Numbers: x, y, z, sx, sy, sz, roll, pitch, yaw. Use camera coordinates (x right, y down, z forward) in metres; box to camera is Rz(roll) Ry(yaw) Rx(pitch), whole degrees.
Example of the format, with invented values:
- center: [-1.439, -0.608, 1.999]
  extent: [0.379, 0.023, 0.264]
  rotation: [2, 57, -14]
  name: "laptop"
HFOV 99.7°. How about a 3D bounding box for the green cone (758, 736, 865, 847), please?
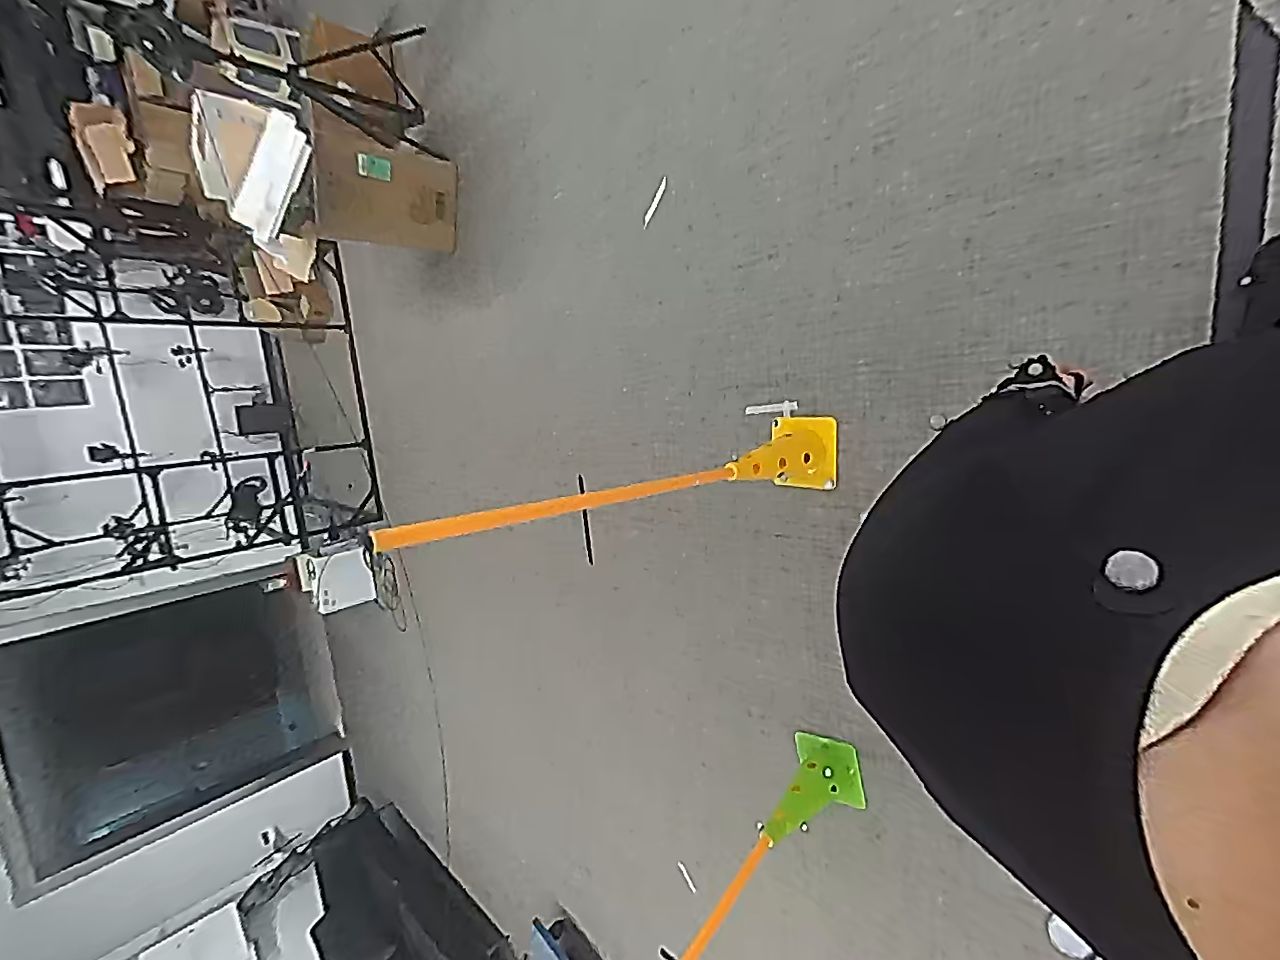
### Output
- center: [0.451, 0.912, 1.518]
  extent: [0.200, 0.368, 0.202]
  rotation: [-11, 90, 46]
  name: "green cone"
